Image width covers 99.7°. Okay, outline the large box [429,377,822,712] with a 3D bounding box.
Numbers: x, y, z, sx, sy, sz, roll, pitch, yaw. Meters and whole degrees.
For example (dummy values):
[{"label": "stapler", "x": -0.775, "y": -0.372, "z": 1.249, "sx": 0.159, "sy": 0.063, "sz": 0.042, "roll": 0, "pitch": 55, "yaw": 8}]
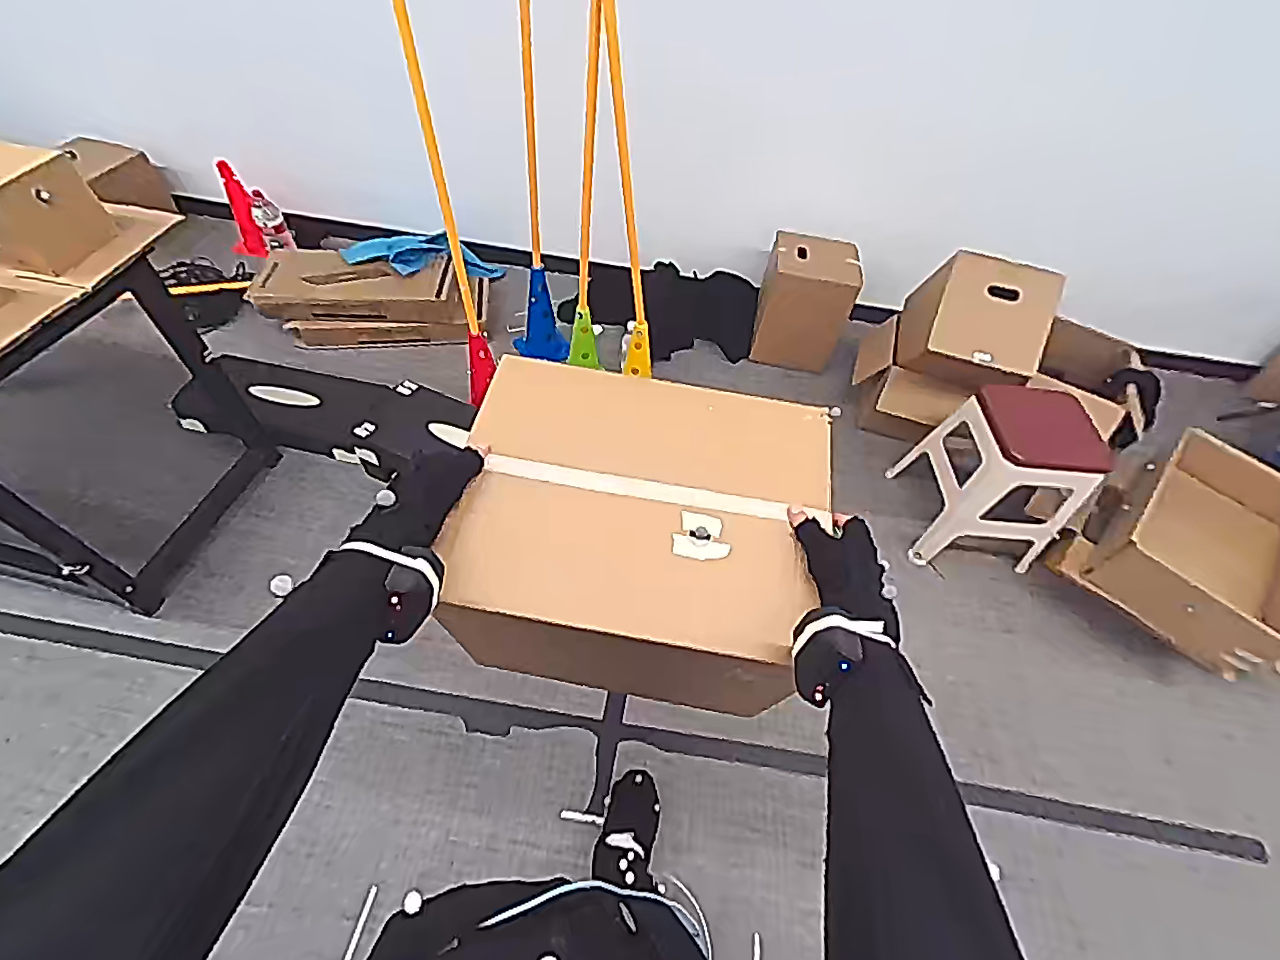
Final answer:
[{"label": "large box", "x": -0.007, "y": 0.102, "z": 0.735, "sx": 0.408, "sy": 0.320, "sz": 0.320, "roll": 10, "pitch": 60, "yaw": 1}]
